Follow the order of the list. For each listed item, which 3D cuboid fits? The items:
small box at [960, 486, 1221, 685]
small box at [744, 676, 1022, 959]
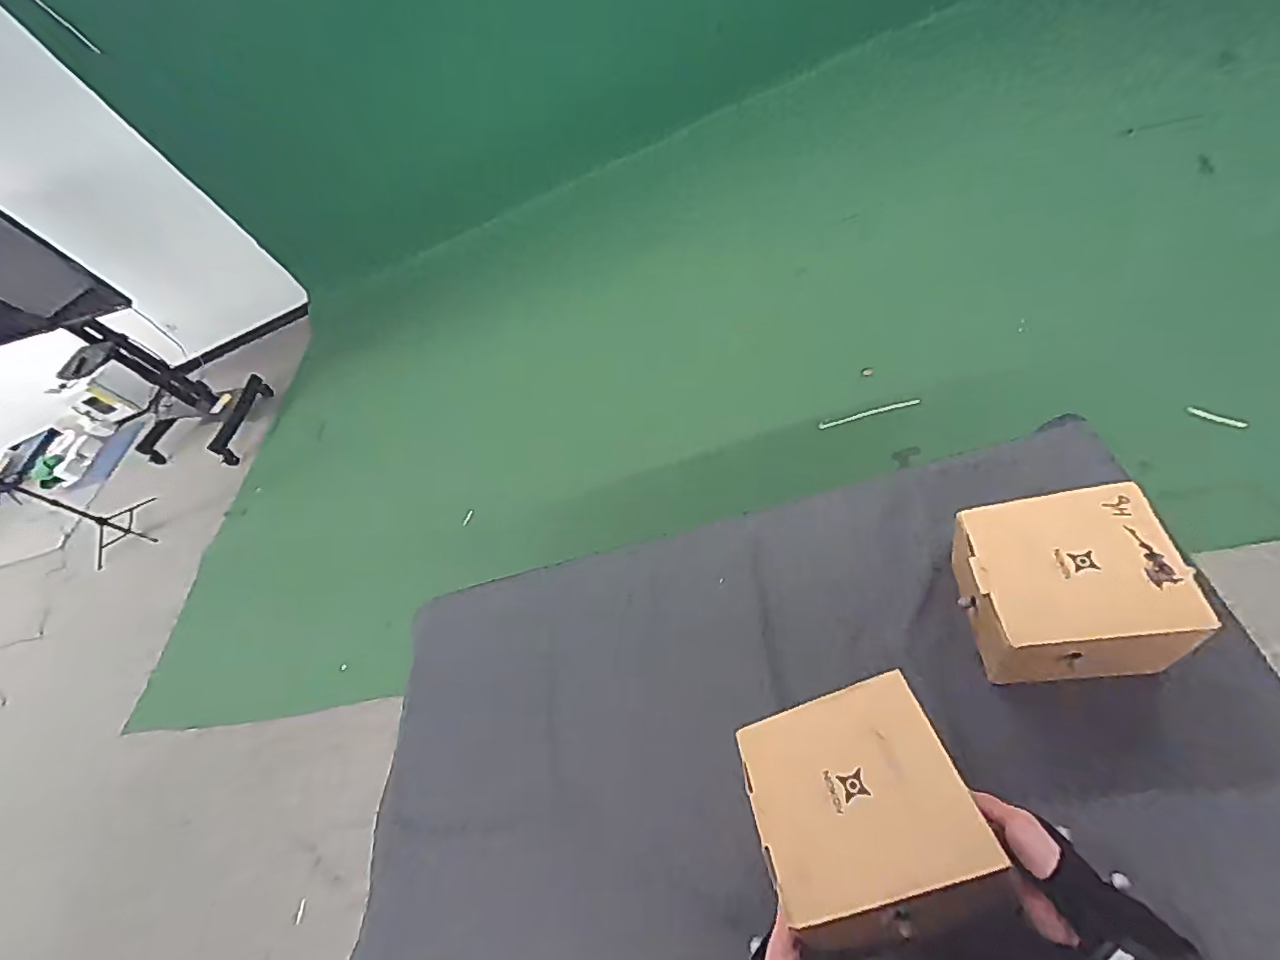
[{"bbox_3d":[0.491,0.133,0.628,0.179,0.176,0.168,-13,54,21],"label":"small box"},{"bbox_3d":[0.225,0.326,0.514,0.179,0.176,0.168,-26,36,10],"label":"small box"}]
